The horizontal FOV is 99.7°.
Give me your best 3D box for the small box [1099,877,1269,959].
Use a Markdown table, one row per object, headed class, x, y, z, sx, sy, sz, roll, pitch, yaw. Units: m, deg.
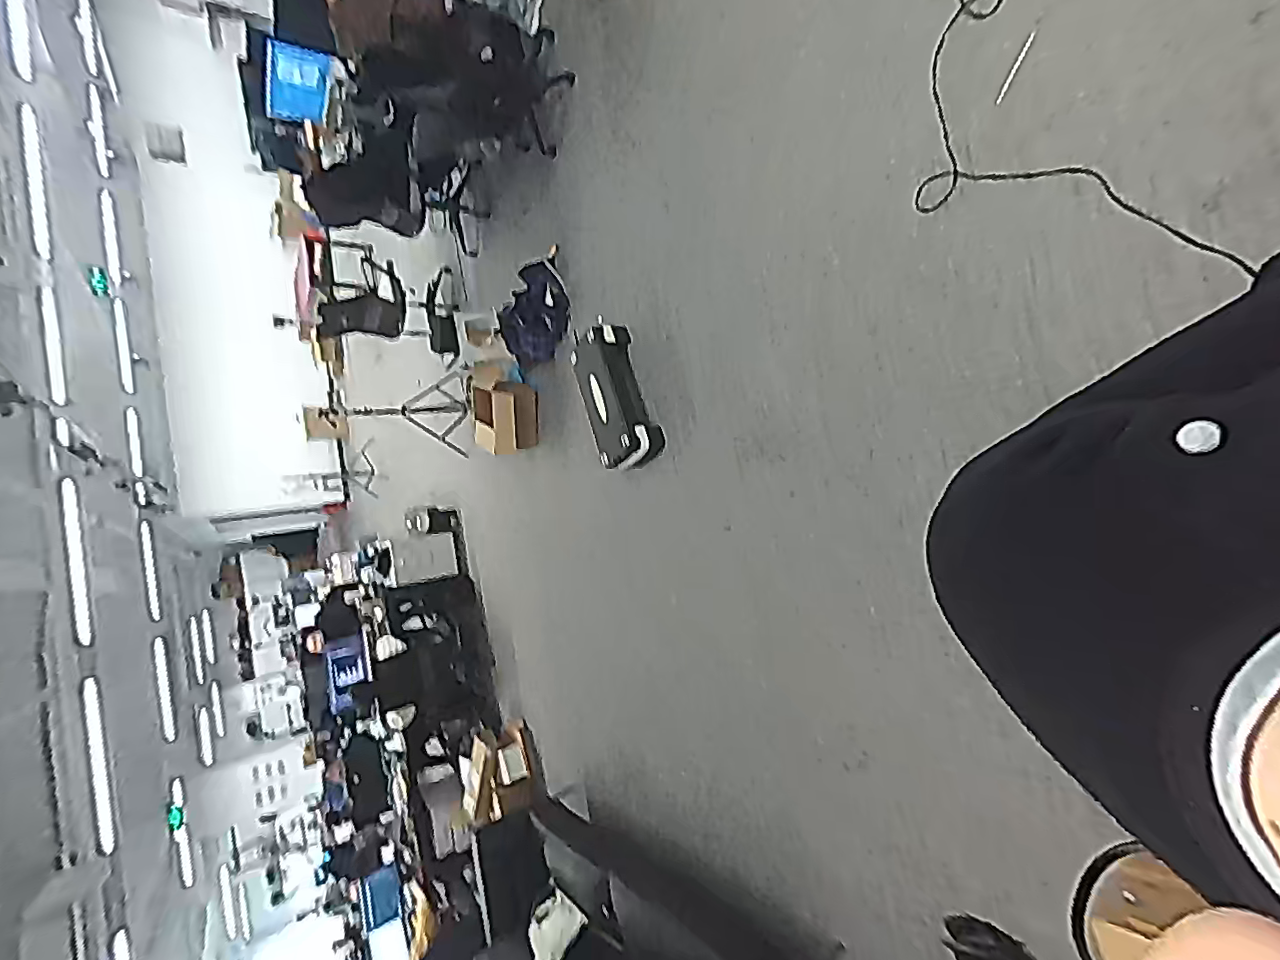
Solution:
| class | x | y | z | sx | sy | sz | roll | pitch | yaw |
| --- | --- | --- | --- | --- | --- | --- | --- | --- | --- |
| small box | 0.947 | 0.832 | 0.929 | 0.168 | 0.176 | 0.179 | -34 | 70 | 54 |
